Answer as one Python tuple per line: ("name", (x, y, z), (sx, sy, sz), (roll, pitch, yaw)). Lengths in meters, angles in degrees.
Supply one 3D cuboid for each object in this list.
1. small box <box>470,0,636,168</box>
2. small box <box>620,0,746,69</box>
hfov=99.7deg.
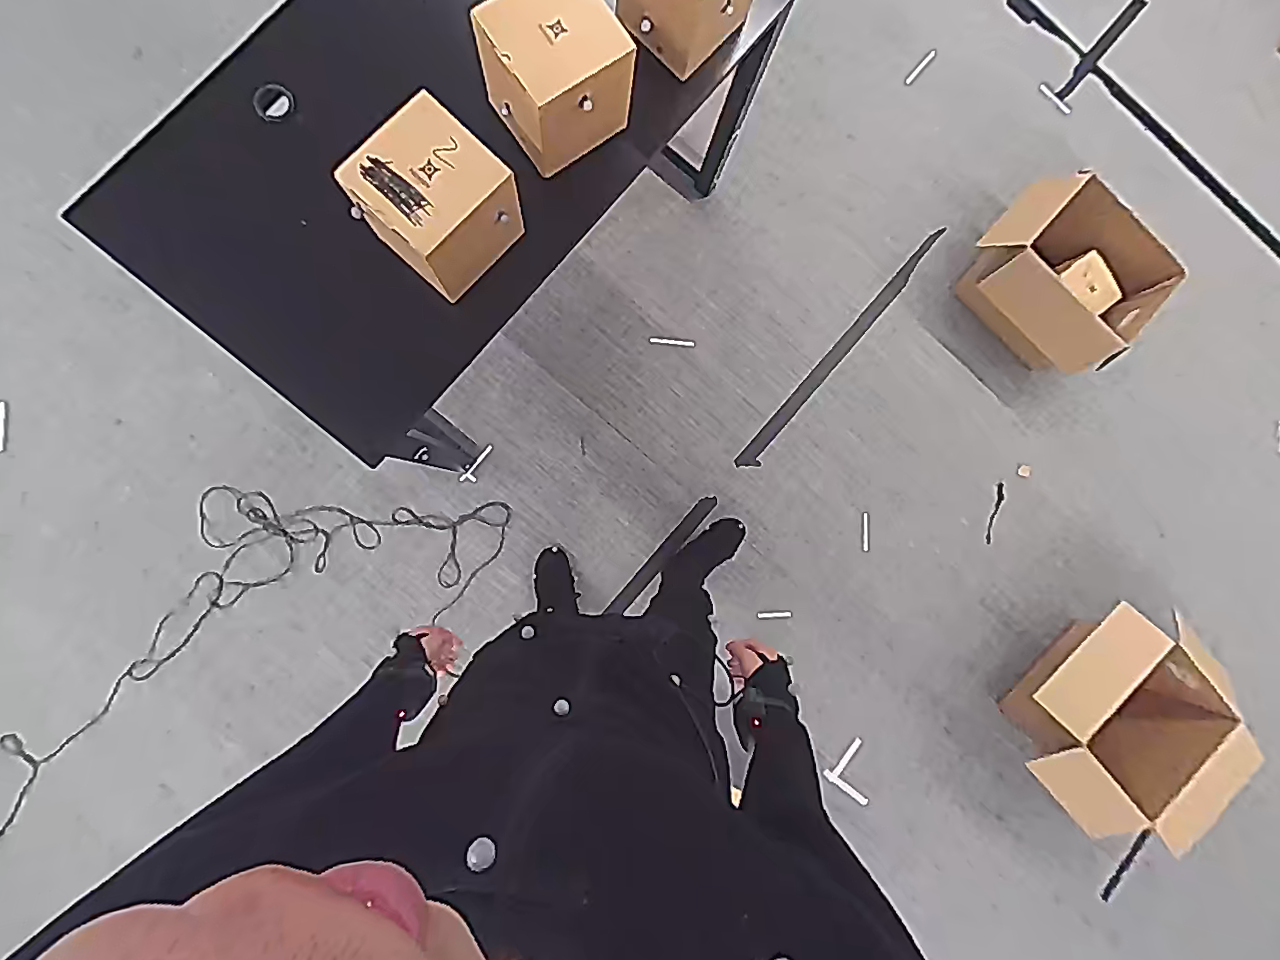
("small box", (-0.129, -0.635, 0.833), (0.179, 0.176, 0.168), (-37, 91, -5))
("small box", (0.079, -0.822, 0.857), (0.168, 0.176, 0.179), (42, 86, -2))
